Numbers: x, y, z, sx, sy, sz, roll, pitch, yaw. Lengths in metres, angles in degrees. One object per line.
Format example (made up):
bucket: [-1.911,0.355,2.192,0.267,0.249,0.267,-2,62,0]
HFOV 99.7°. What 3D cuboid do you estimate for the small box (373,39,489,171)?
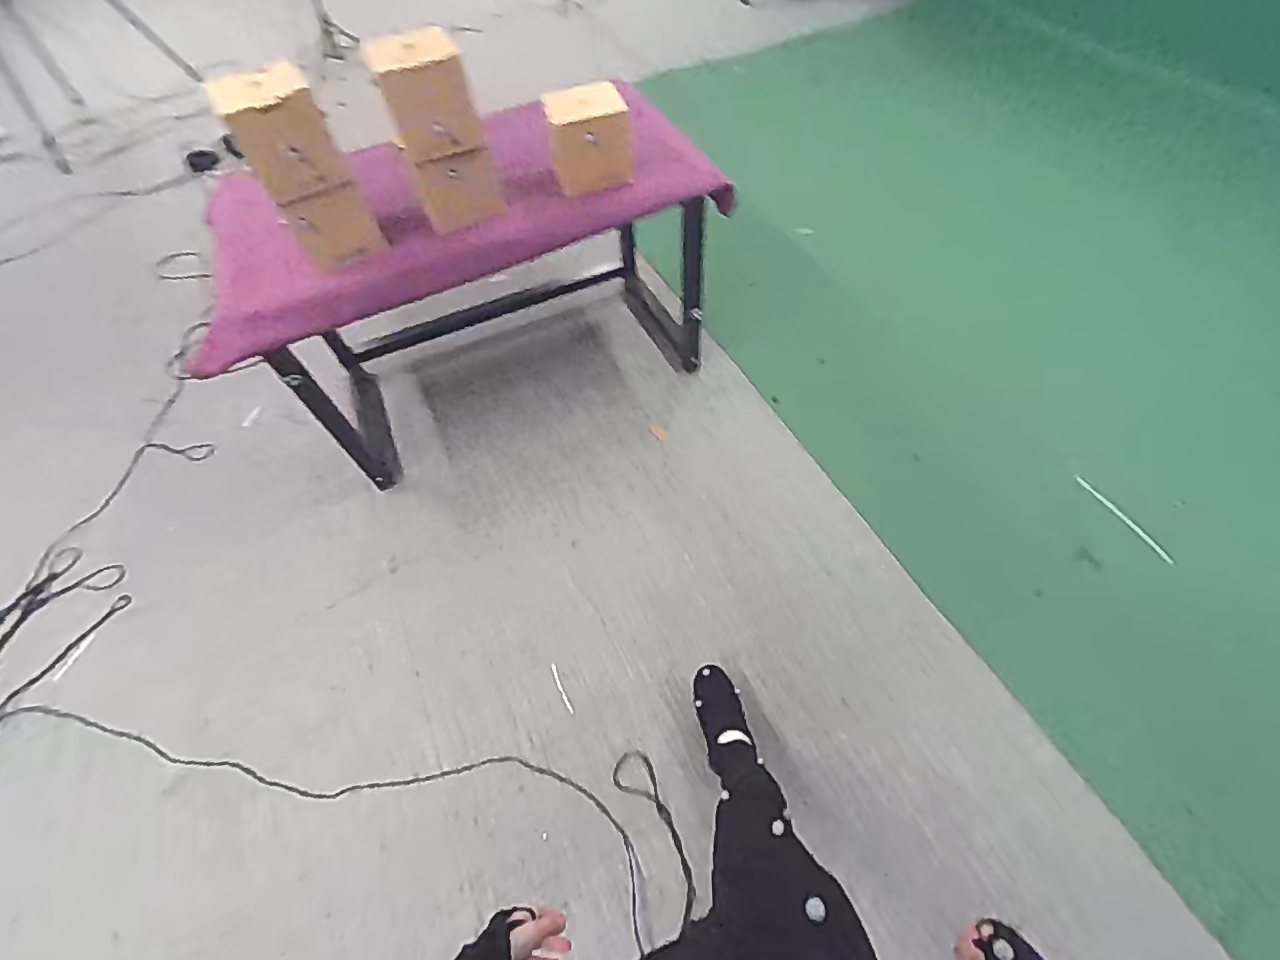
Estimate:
small box: [-0.436,-0.789,1.141,0.168,0.176,0.179,-22,58,-10]

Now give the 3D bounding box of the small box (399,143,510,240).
small box: [-0.433,-0.702,1.282,0.179,0.176,0.168,-28,59,-15]

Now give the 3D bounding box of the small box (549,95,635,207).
small box: [-0.112,-0.805,1.328,0.179,0.176,0.168,-15,56,-4]

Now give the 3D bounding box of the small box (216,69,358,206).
small box: [-0.698,-0.678,1.085,0.168,0.176,0.179,-28,60,-15]
